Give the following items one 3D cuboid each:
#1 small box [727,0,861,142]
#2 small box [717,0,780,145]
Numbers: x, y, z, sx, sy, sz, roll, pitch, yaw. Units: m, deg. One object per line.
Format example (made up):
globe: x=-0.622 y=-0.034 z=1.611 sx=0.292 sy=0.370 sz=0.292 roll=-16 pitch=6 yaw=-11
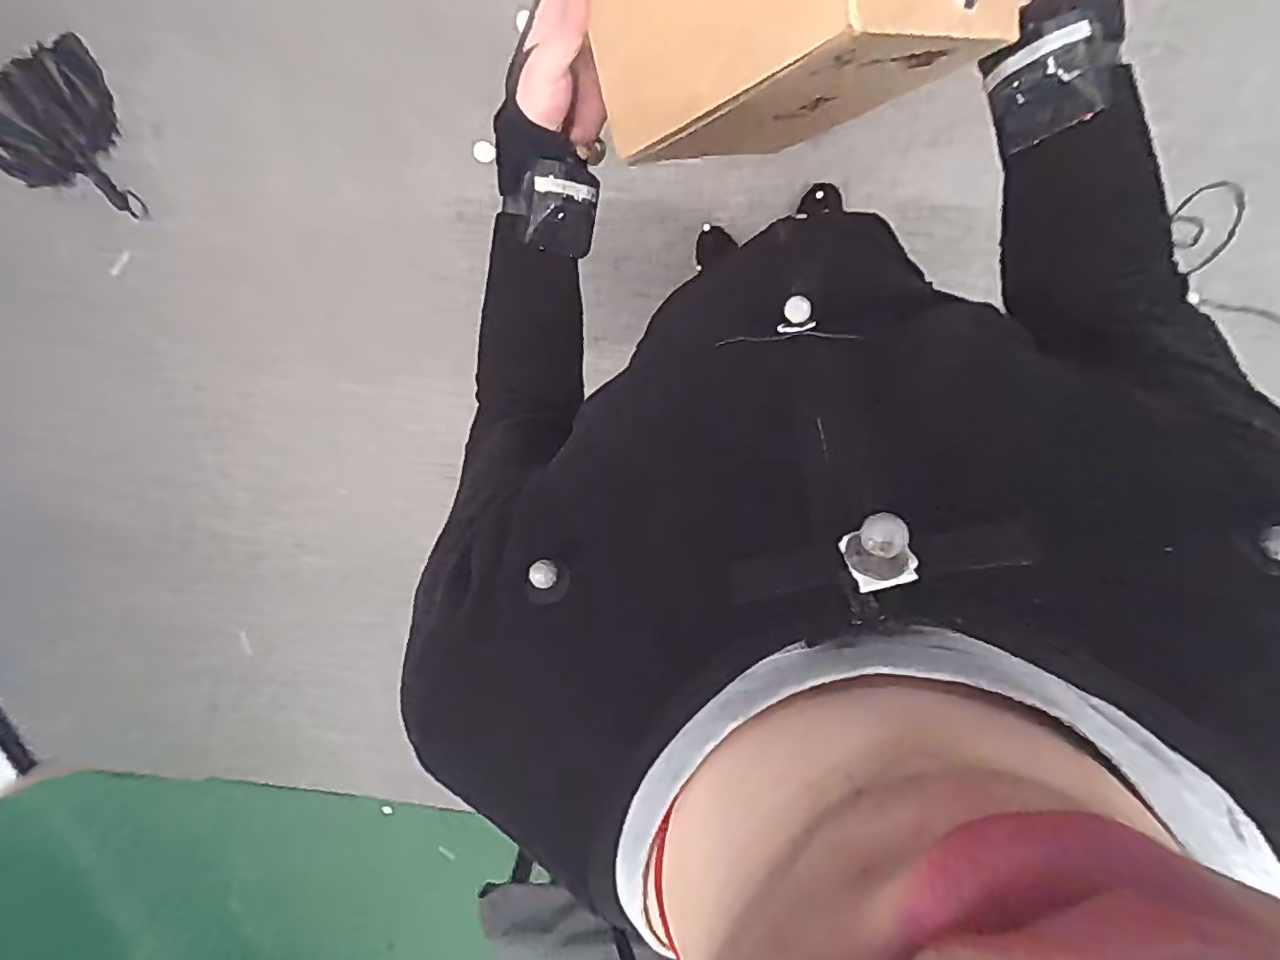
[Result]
small box: x=0.277 y=-0.775 z=1.016 sx=0.179 sy=0.176 sz=0.168 roll=-34 pitch=107 yaw=21
small box: x=0.284 y=-0.858 z=1.158 sx=0.168 sy=0.176 sz=0.179 roll=42 pitch=112 yaw=-13
